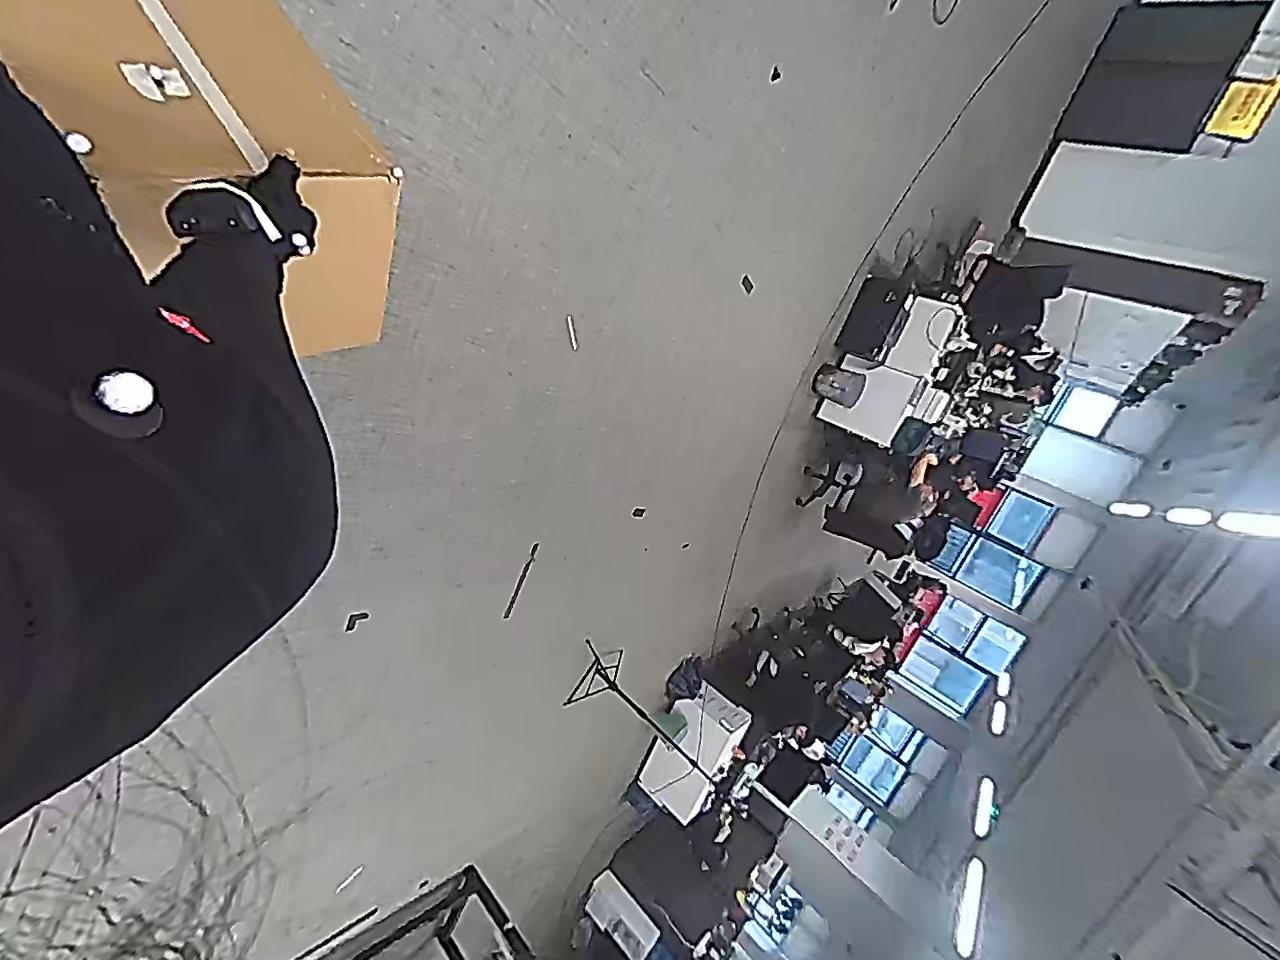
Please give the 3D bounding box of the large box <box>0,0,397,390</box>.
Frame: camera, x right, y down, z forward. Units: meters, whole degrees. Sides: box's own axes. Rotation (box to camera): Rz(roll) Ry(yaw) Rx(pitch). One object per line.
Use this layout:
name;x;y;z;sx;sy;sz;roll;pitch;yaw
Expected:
large box;-0.598;-0.398;0.737;0.320;0.408;0.320;-29;169;-39
